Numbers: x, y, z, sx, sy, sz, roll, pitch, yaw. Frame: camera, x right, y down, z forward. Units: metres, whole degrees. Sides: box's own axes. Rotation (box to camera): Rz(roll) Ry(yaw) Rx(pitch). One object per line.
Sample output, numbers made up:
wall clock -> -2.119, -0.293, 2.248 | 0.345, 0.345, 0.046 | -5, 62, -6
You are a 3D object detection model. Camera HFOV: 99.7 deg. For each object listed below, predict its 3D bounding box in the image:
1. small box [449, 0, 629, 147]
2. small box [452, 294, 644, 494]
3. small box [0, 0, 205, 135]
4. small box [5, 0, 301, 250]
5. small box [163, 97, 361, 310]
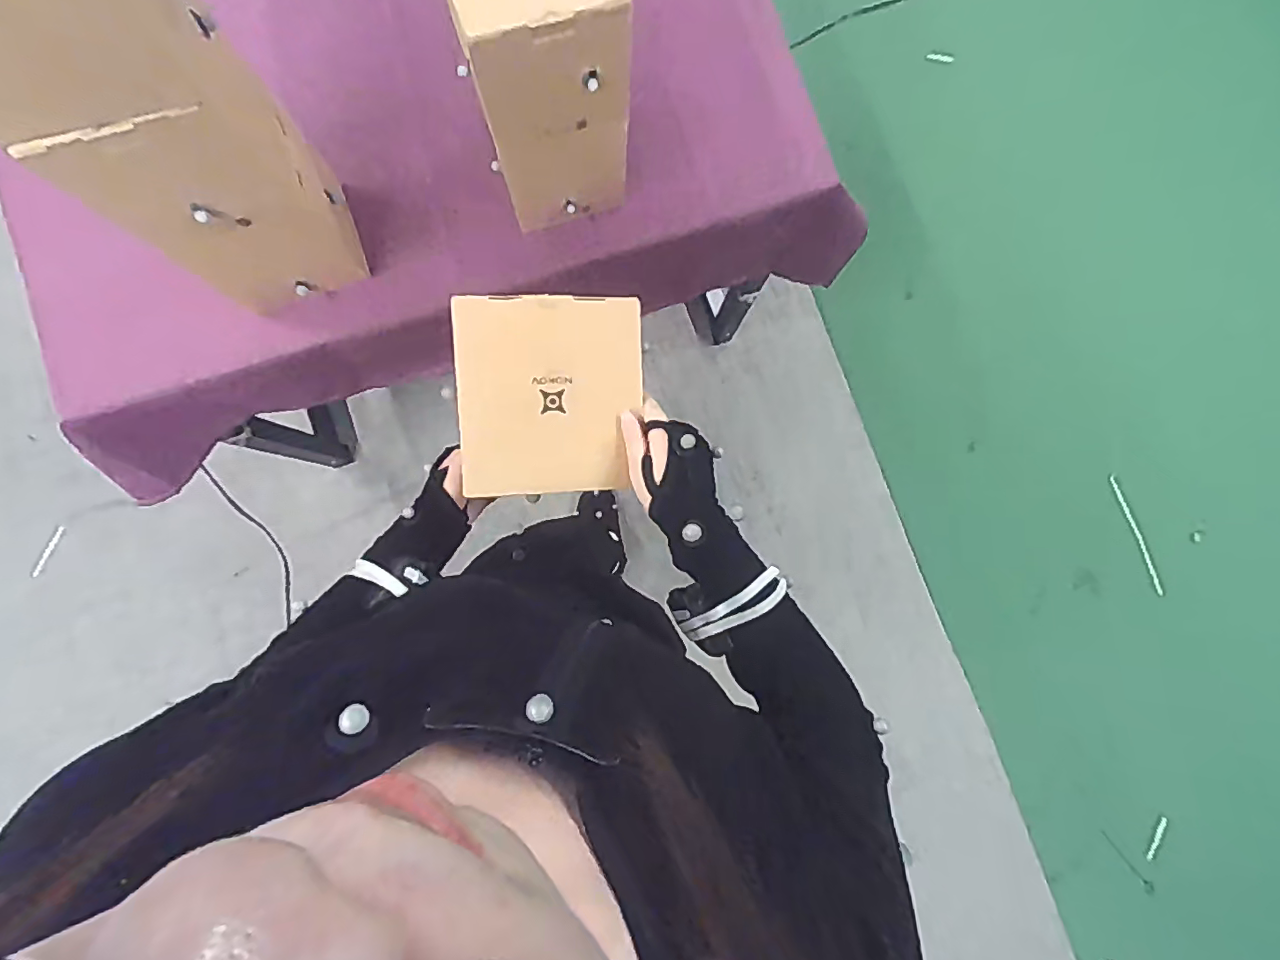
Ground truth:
small box -> -0.115, -0.503, 0.593 | 0.168, 0.176, 0.179 | -18, 86, -5
small box -> -0.093, -0.085, 0.563 | 0.168, 0.176, 0.179 | -4, 95, -11
small box -> -0.480, -0.394, 0.395 | 0.179, 0.176, 0.168 | -17, 86, -6
small box -> -0.494, -0.376, 0.558 | 0.168, 0.176, 0.179 | -19, 86, -4
small box -> -0.502, -0.355, 0.722 | 0.179, 0.176, 0.168 | -20, 86, -6
